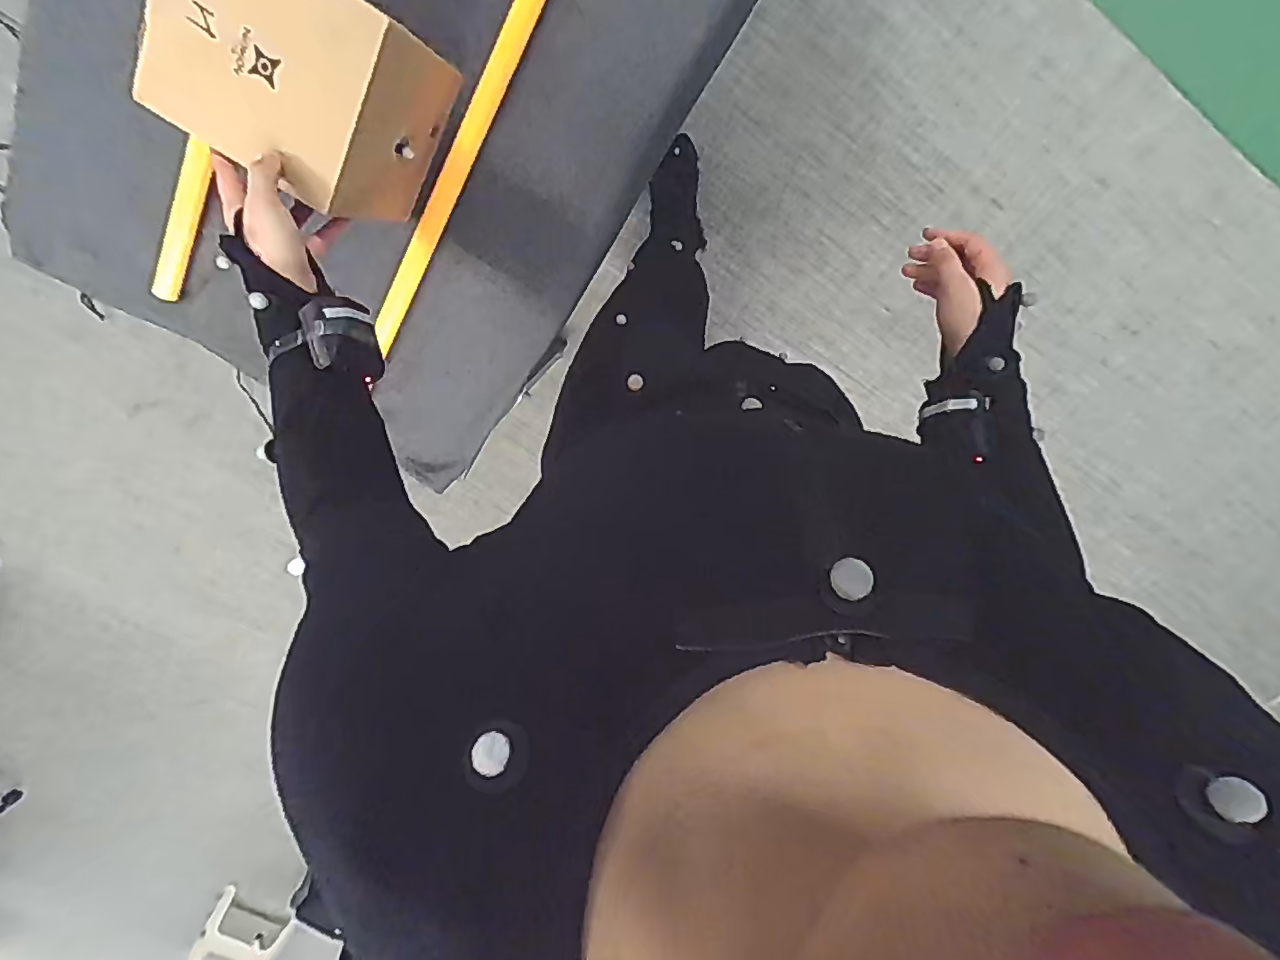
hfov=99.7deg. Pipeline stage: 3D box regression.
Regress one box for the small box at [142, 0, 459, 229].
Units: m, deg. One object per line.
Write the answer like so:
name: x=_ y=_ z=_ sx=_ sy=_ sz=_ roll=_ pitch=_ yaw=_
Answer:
small box: x=-0.300 y=-0.364 z=0.514 sx=0.179 sy=0.176 sz=0.168 roll=30 pitch=111 yaw=-10
